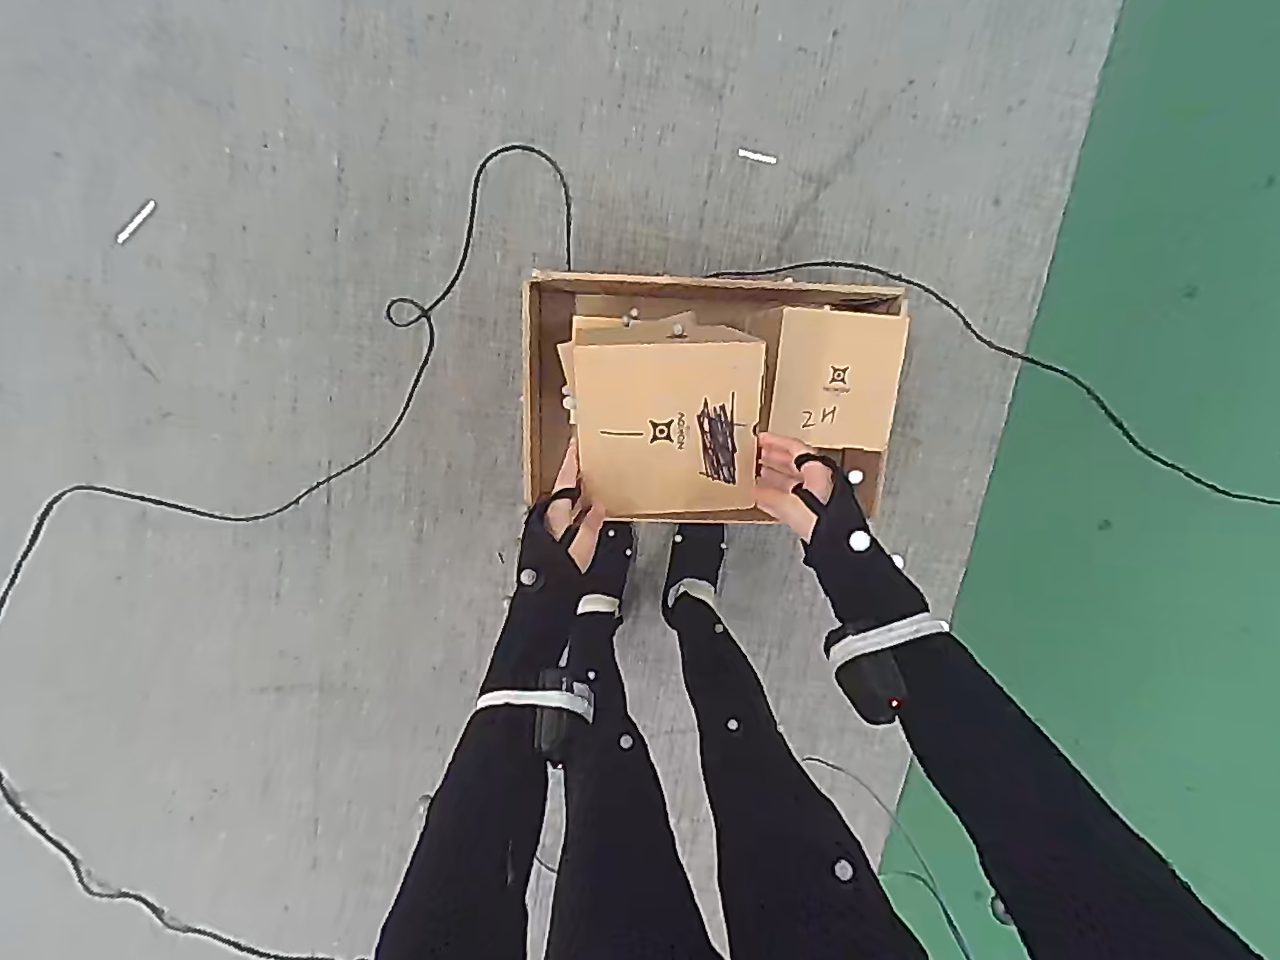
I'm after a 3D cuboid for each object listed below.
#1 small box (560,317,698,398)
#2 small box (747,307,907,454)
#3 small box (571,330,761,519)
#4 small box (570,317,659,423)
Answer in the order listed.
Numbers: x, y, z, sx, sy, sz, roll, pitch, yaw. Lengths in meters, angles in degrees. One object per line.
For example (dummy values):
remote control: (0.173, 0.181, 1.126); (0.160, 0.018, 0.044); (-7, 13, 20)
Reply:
small box: (-0.005, -0.126, 0.761); (0.179, 0.176, 0.168); (-14, 105, -1)
small box: (0.246, -0.142, 0.770); (0.168, 0.176, 0.179); (4, 103, -4)
small box: (0.018, -0.070, 0.585); (0.179, 0.176, 0.168); (-3, 111, -4)
small box: (-0.024, -0.180, 0.914); (0.179, 0.176, 0.168); (2, 104, -5)
